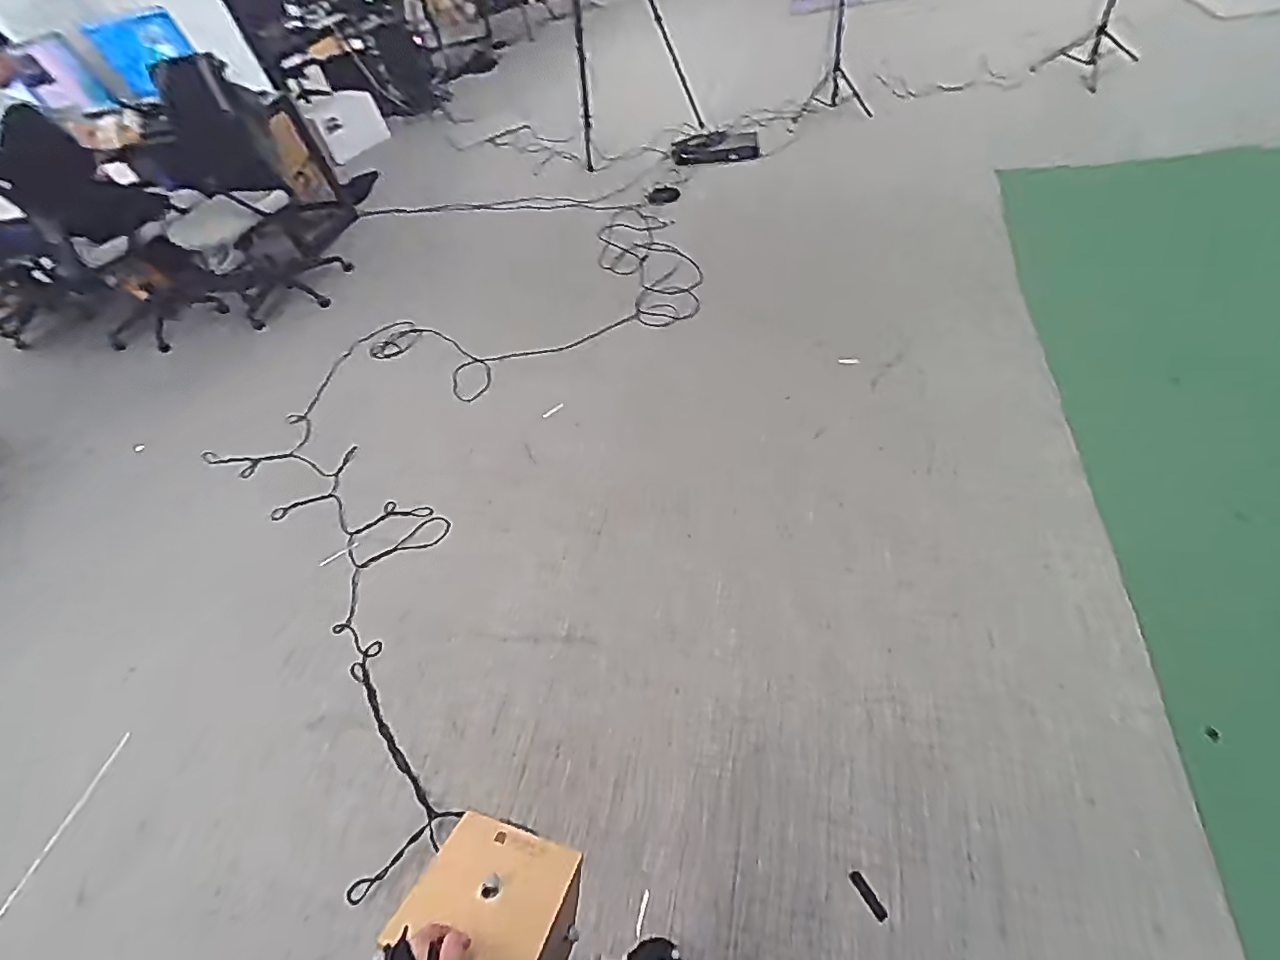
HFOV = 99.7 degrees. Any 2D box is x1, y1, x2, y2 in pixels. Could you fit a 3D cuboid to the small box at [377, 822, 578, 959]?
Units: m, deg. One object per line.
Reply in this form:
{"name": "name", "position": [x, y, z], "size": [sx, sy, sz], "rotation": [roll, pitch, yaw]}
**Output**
{"name": "small box", "position": [-0.180, 0.553, 0.639], "size": [0.168, 0.179, 0.176], "rotation": [10, 19, 13]}
